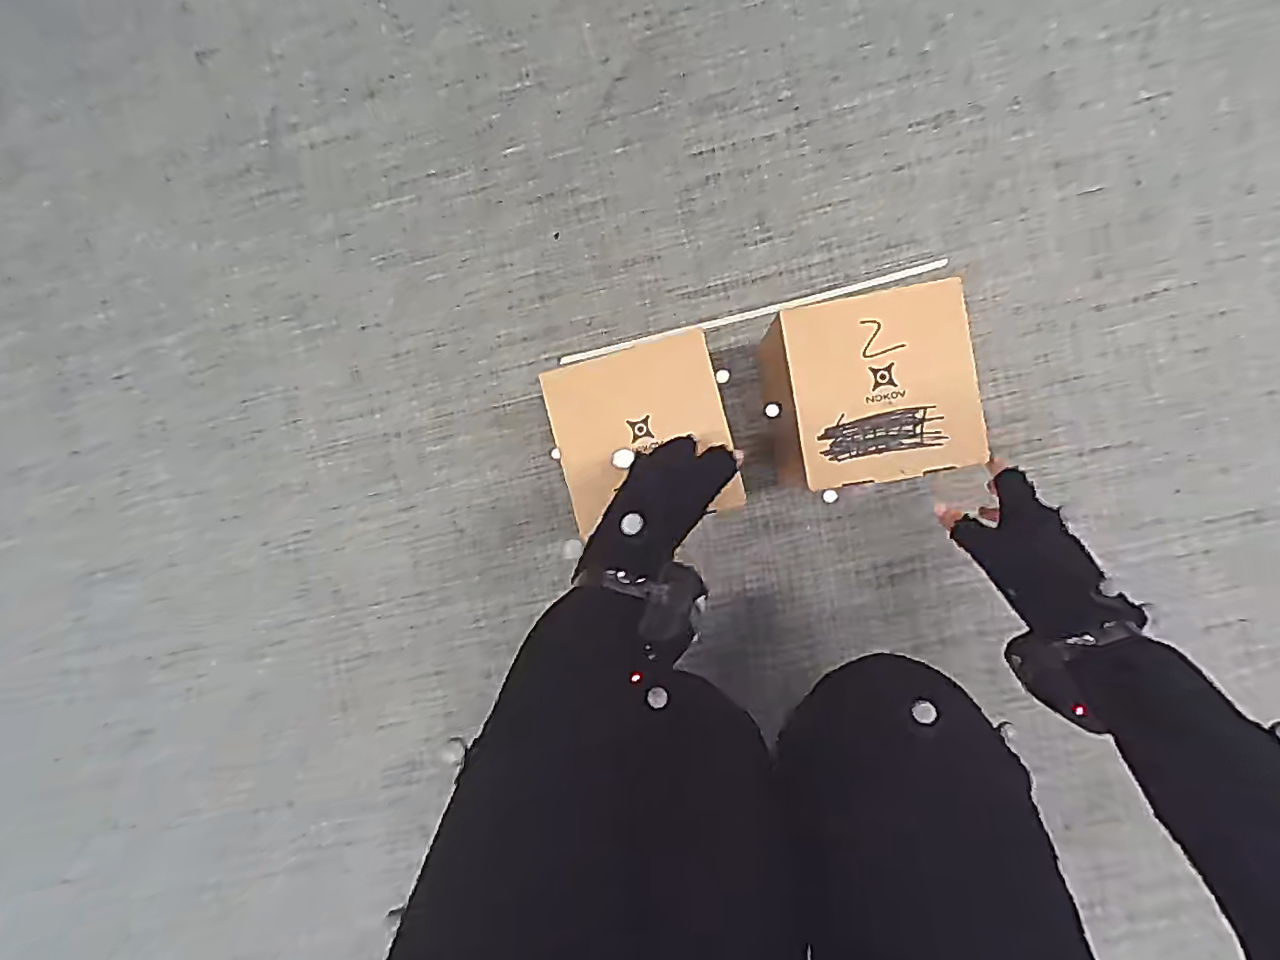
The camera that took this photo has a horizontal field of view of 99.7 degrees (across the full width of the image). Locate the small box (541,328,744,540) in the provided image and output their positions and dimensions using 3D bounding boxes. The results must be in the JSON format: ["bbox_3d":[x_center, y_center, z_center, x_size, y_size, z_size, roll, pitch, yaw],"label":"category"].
[{"bbox_3d":[0.007,-0.045,0.600,0.168,0.176,0.179,-15,91,6],"label":"small box"}]
